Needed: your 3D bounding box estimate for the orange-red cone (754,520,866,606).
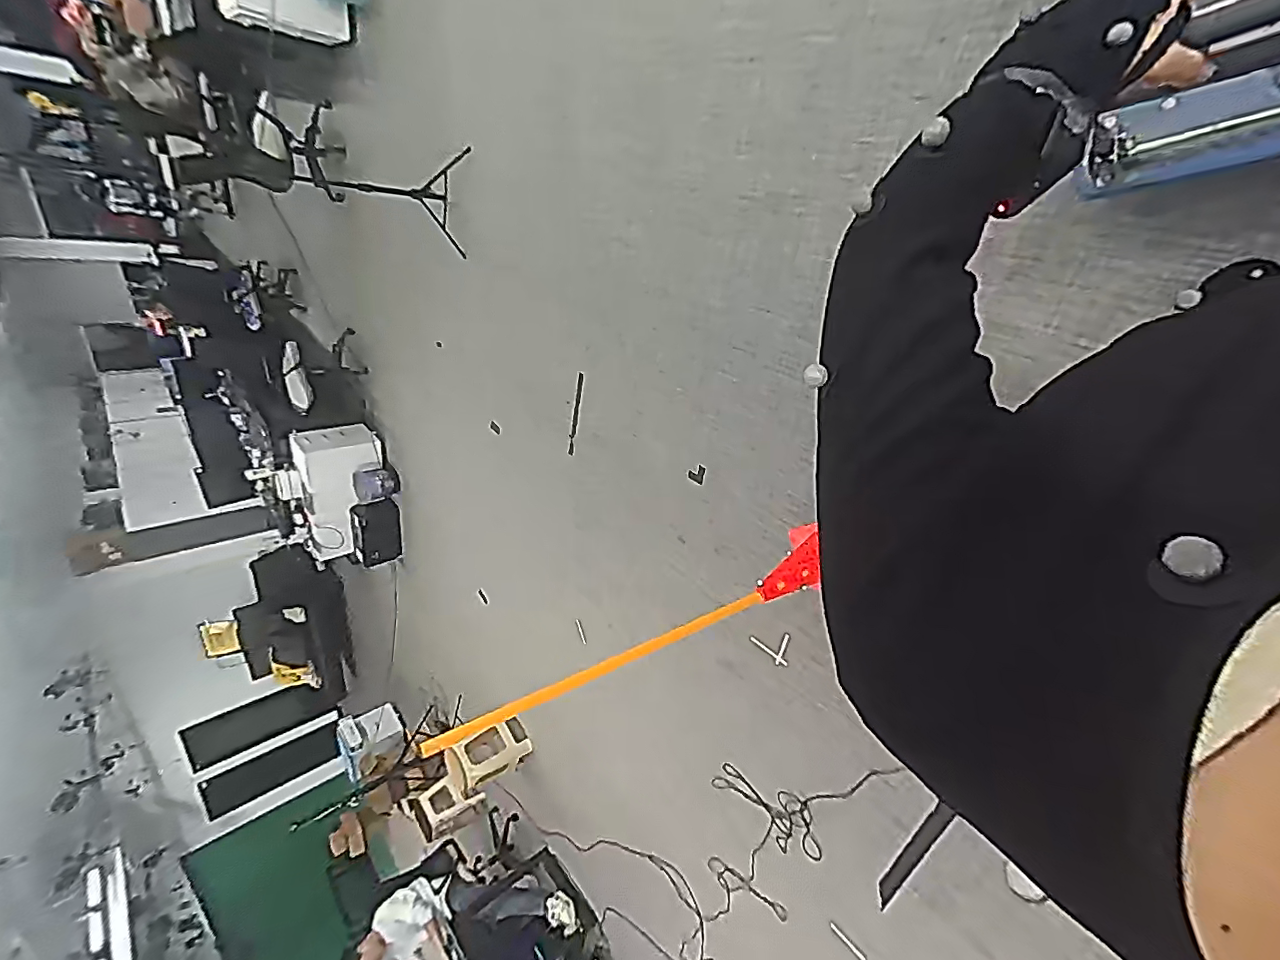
[{"bbox_3d":[0.433,0.265,1.496,0.199,0.360,0.198,-27,83,48],"label":"orange-red cone"}]
